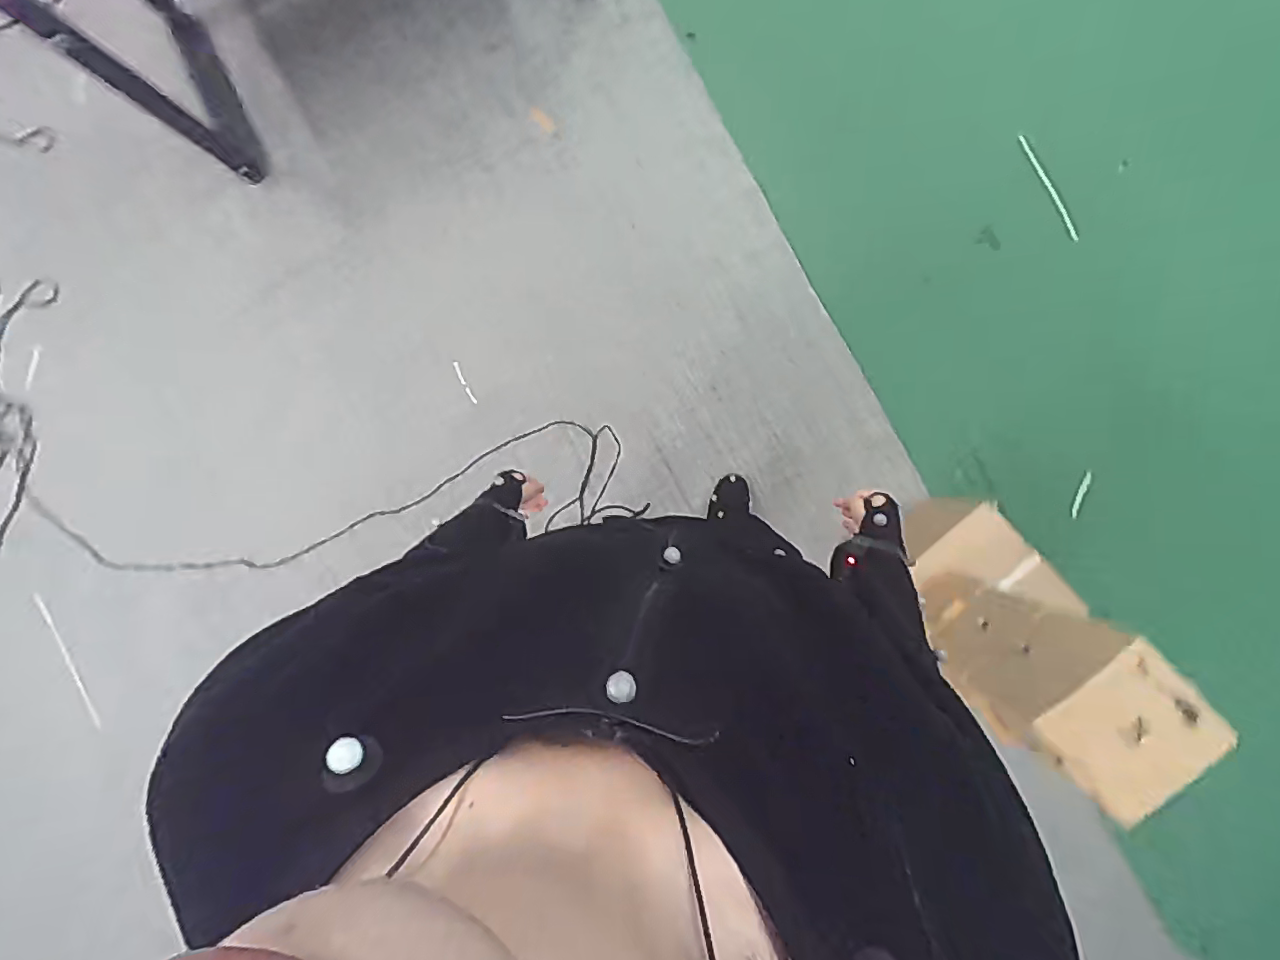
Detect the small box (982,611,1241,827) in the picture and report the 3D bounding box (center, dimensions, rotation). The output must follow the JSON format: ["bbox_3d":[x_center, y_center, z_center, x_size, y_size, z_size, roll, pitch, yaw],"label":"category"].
[{"bbox_3d":[0.609,0.309,0.736,0.179,0.176,0.168,-41,86,5],"label":"small box"}]

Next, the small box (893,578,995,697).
[{"bbox_3d":[0.637,0.309,1.063,0.168,0.176,0.179,-41,86,4],"label":"small box"}]

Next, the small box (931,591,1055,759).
[{"bbox_3d":[0.621,0.311,0.900,0.179,0.176,0.168,-42,85,4],"label":"small box"}]

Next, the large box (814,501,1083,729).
[{"bbox_3d":[0.700,0.294,1.302,0.408,0.320,0.320,-41,87,2],"label":"large box"}]
